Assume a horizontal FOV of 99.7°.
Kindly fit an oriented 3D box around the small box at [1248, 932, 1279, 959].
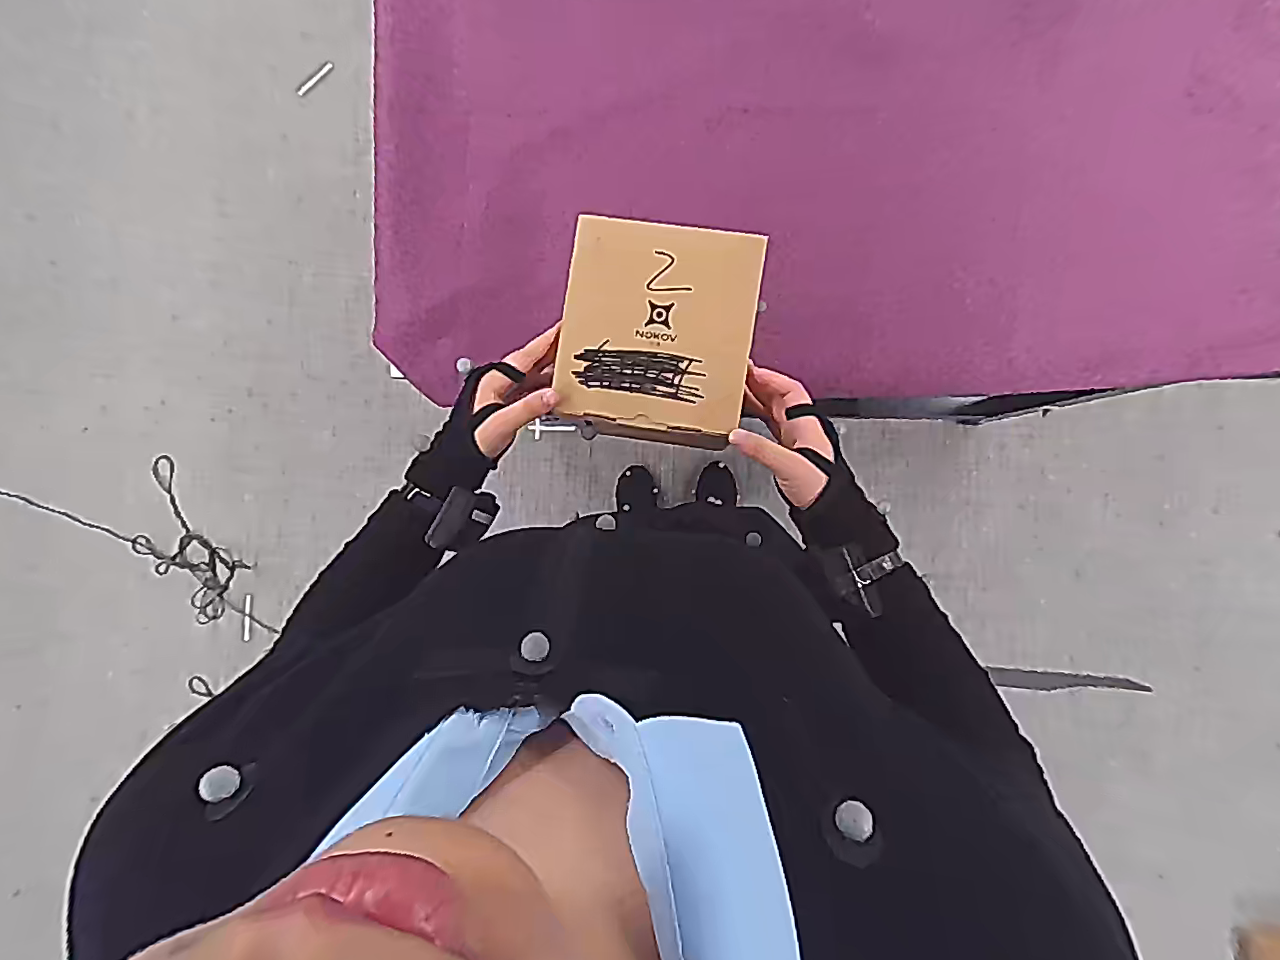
[{"bbox_3d":[1.598,1.210,1.269,0.179,0.176,0.168,-5,89,5],"label":"small box"}]
